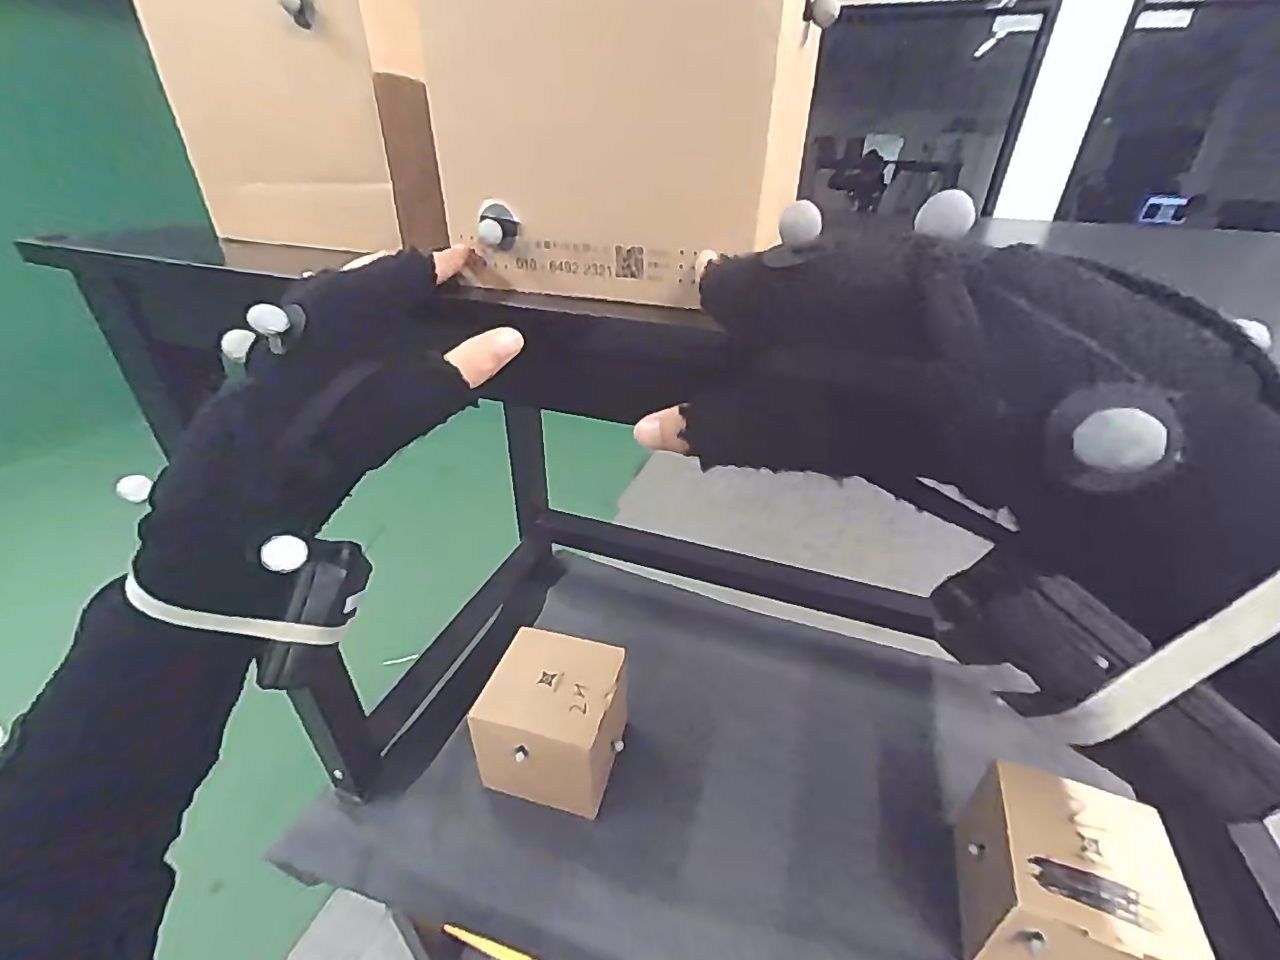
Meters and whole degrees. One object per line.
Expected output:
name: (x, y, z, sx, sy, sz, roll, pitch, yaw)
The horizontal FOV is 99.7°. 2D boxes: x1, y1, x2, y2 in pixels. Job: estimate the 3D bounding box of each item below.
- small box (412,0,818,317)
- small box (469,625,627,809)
small box: (0.002, -0.201, 0.310, 0.168, 0.176, 0.179, 12, 33, 16)
small box: (-0.126, 0.349, 0.802, 0.179, 0.176, 0.168, 10, 33, 12)
